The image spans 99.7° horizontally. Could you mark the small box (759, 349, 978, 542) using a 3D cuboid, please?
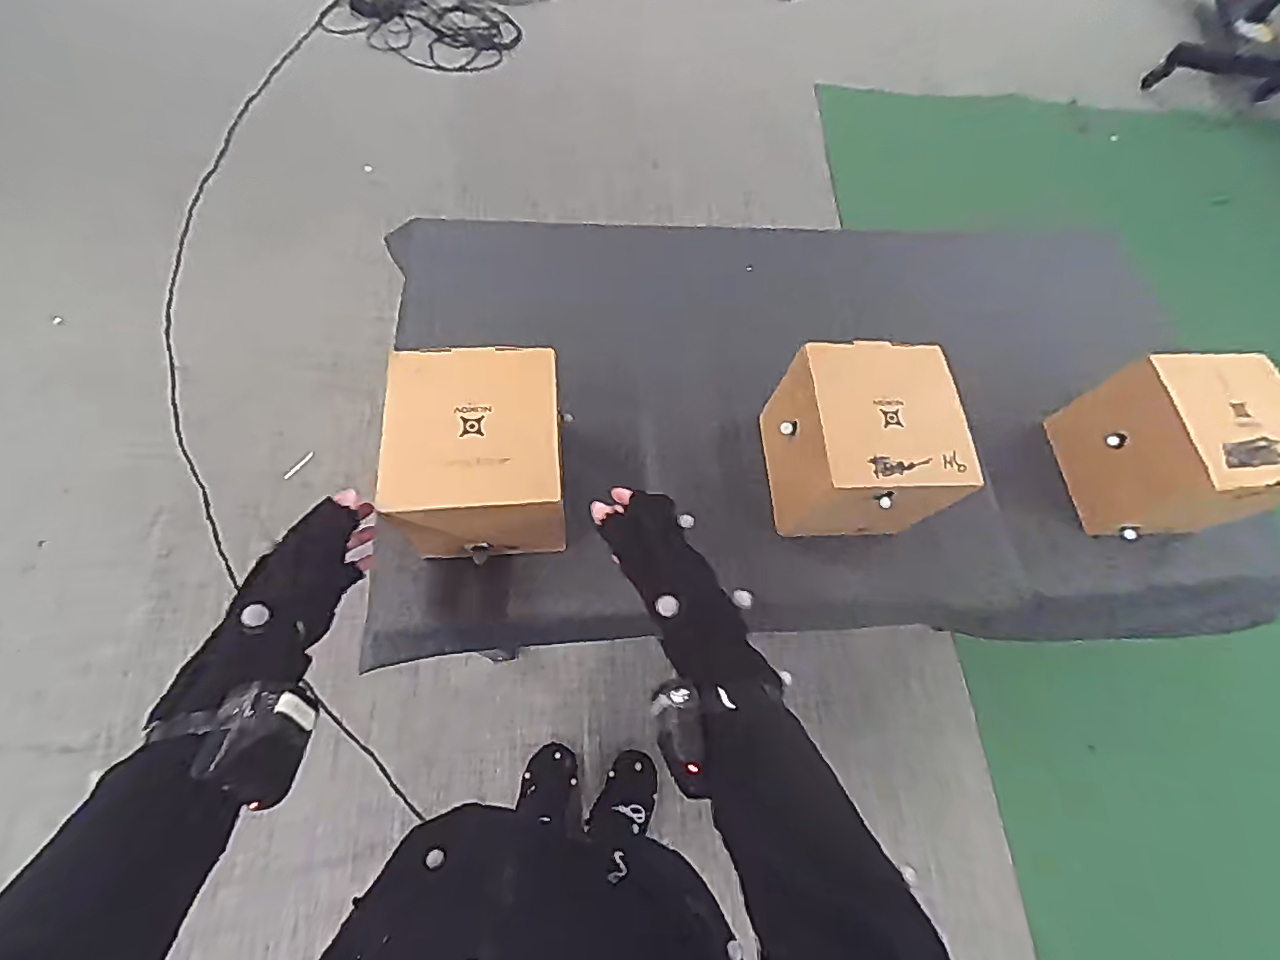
[{"bbox_3d":[0.254,-0.035,0.651,0.168,0.176,0.179,-1,66,-7],"label":"small box"}]

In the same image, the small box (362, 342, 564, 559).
[{"bbox_3d":[-0.169,-0.025,0.575,0.168,0.176,0.179,-2,66,-5],"label":"small box"}]

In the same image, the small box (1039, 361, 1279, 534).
[{"bbox_3d":[0.673,-0.033,0.696,0.168,0.176,0.179,-1,66,-7],"label":"small box"}]
